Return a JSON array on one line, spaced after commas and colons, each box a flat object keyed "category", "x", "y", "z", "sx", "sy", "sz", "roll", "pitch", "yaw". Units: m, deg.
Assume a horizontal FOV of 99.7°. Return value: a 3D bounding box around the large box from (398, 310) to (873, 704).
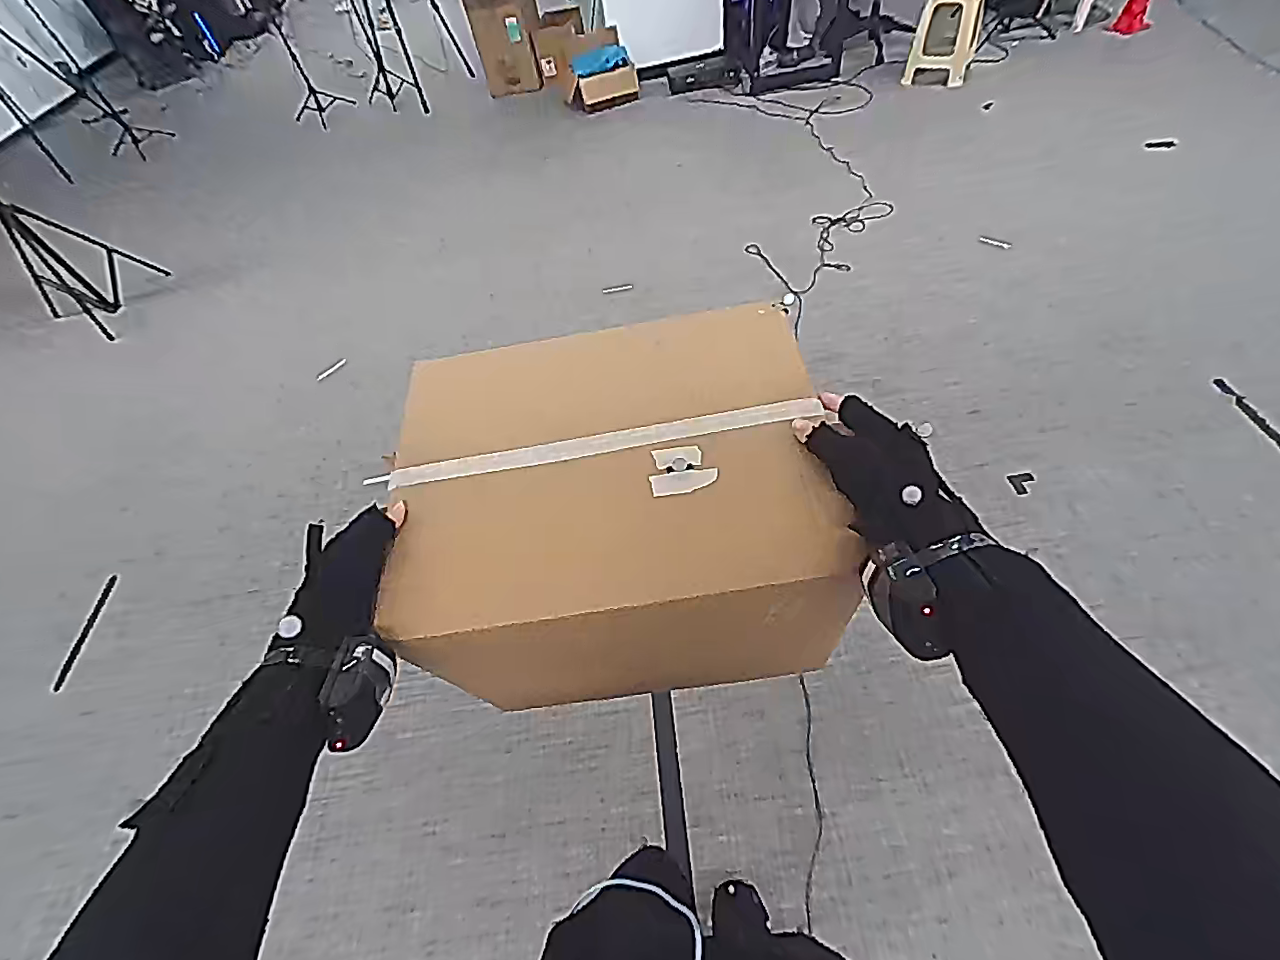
[{"category": "large box", "x": -0.007, "y": 0.050, "z": 0.643, "sx": 0.408, "sy": 0.320, "sz": 0.320, "roll": -9, "pitch": 57, "yaw": 2}]
